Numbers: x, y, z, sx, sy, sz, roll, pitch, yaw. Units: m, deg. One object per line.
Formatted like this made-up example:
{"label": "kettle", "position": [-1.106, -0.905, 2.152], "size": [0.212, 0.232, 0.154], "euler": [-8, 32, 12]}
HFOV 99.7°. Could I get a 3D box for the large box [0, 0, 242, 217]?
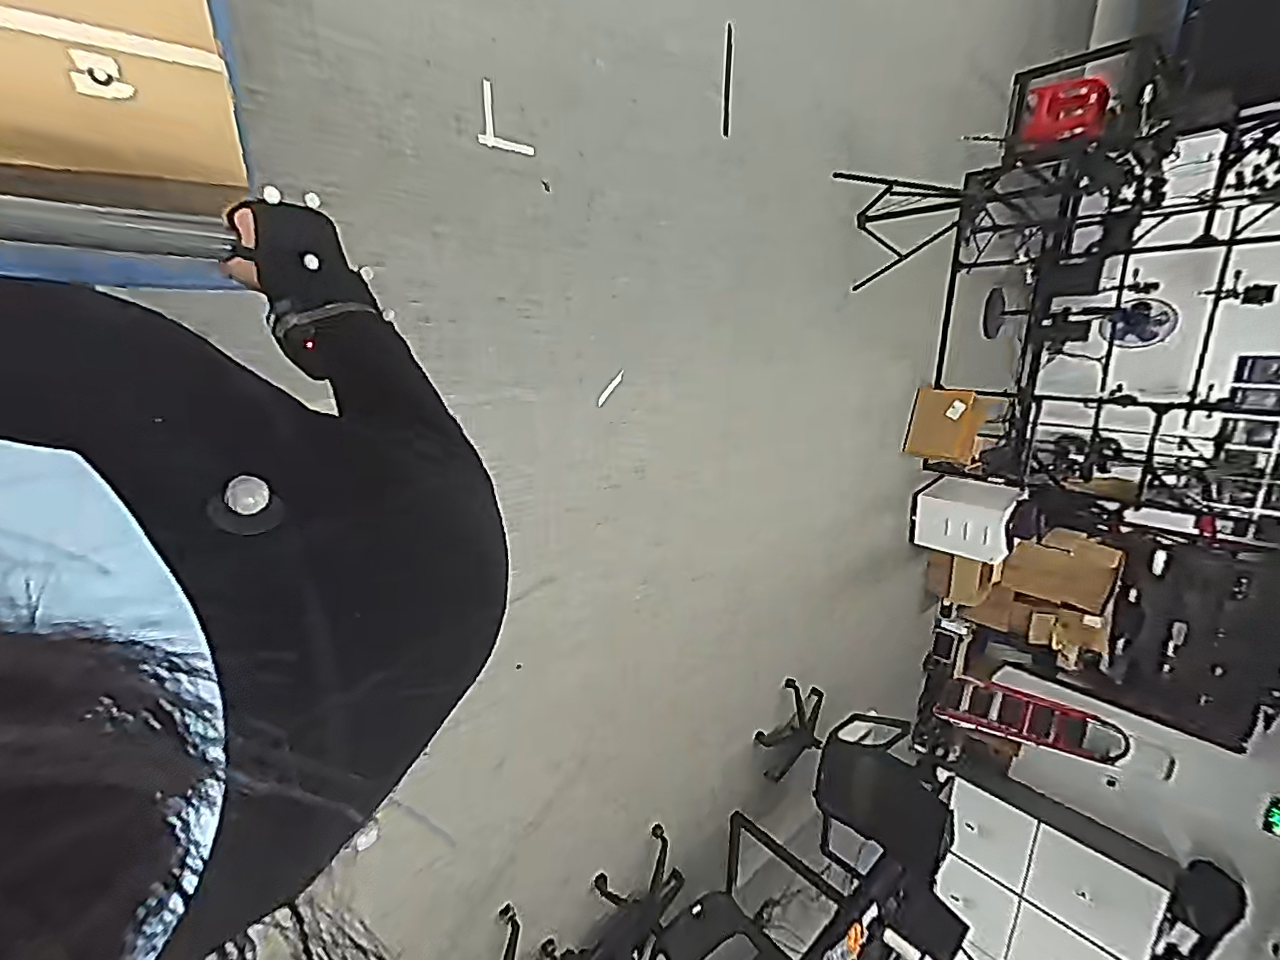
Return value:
{"label": "large box", "position": [-0.850, -0.568, 0.746], "size": [0.408, 0.320, 0.320], "euler": [-17, 112, -40]}
